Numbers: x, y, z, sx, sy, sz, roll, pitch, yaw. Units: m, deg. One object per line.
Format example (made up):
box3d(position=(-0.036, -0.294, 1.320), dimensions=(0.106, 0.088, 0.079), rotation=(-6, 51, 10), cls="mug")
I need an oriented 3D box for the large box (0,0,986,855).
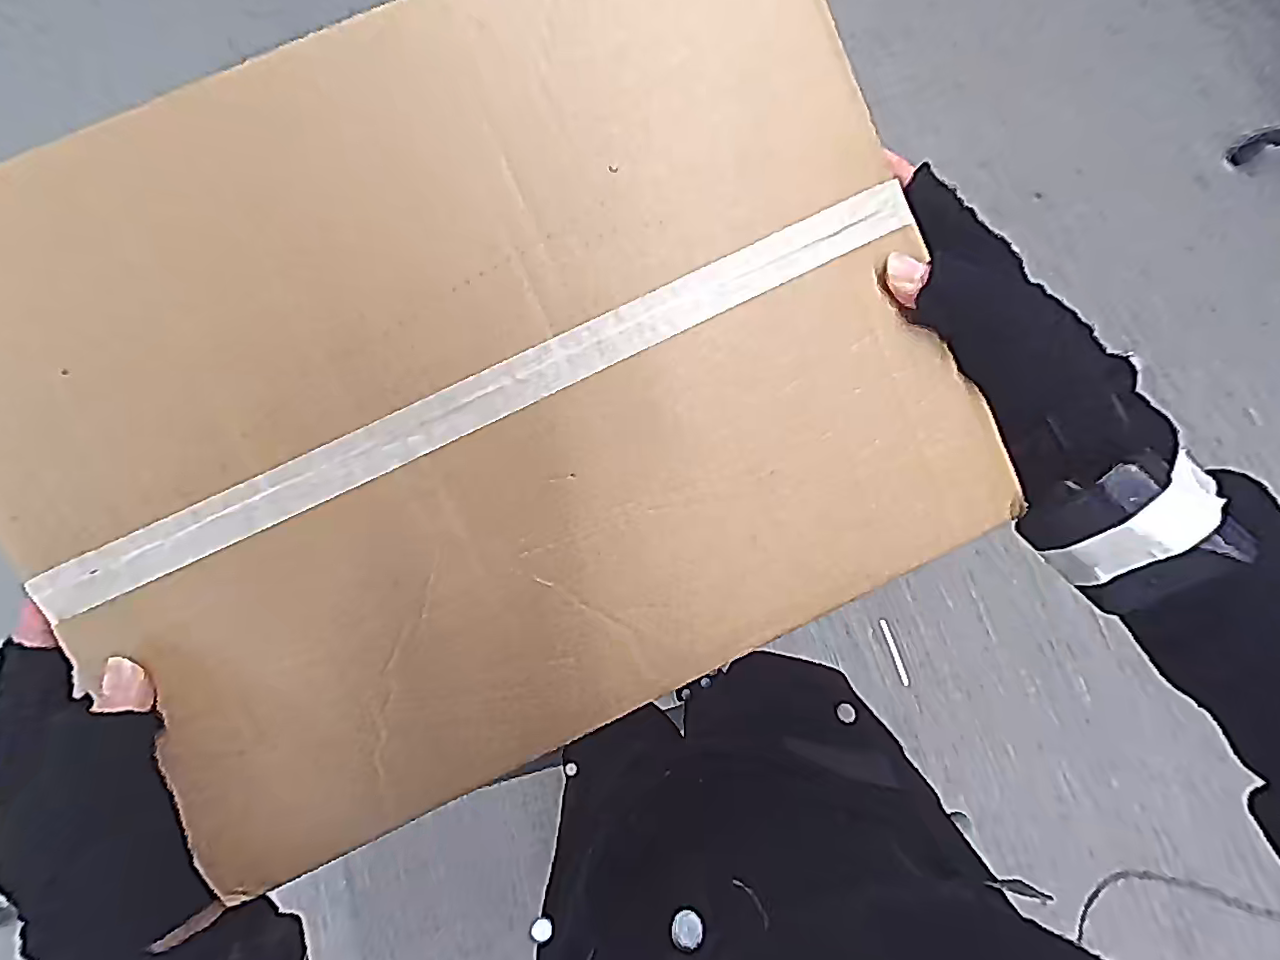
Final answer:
box3d(position=(-0.074, -0.055, 0.395), dimensions=(0.408, 0.320, 0.320), rotation=(-24, 95, -3), cls="large box")
